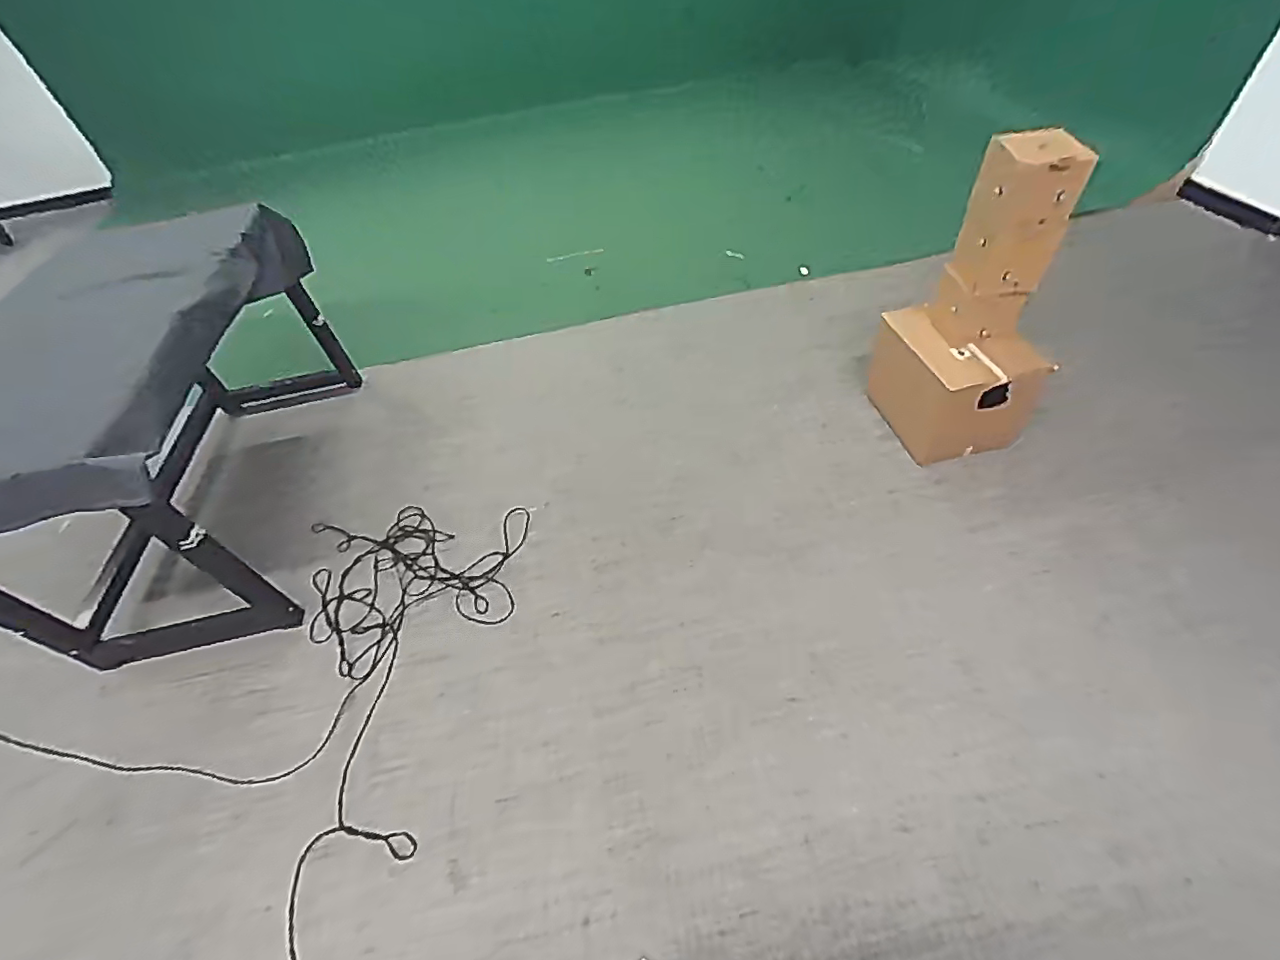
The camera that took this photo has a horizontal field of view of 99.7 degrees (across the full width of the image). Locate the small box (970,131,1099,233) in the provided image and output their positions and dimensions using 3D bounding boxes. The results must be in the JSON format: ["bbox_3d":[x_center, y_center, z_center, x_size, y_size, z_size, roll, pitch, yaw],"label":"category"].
[{"bbox_3d":[0.949,-0.720,1.320,0.168,0.176,0.179,-3,50,3],"label":"small box"}]

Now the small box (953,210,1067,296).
[{"bbox_3d":[0.972,-0.616,1.443,0.168,0.176,0.179,-5,51,4],"label":"small box"}]

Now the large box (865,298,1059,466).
[{"bbox_3d":[0.982,-0.315,1.721,0.320,0.320,0.408,-13,50,-2],"label":"large box"}]
